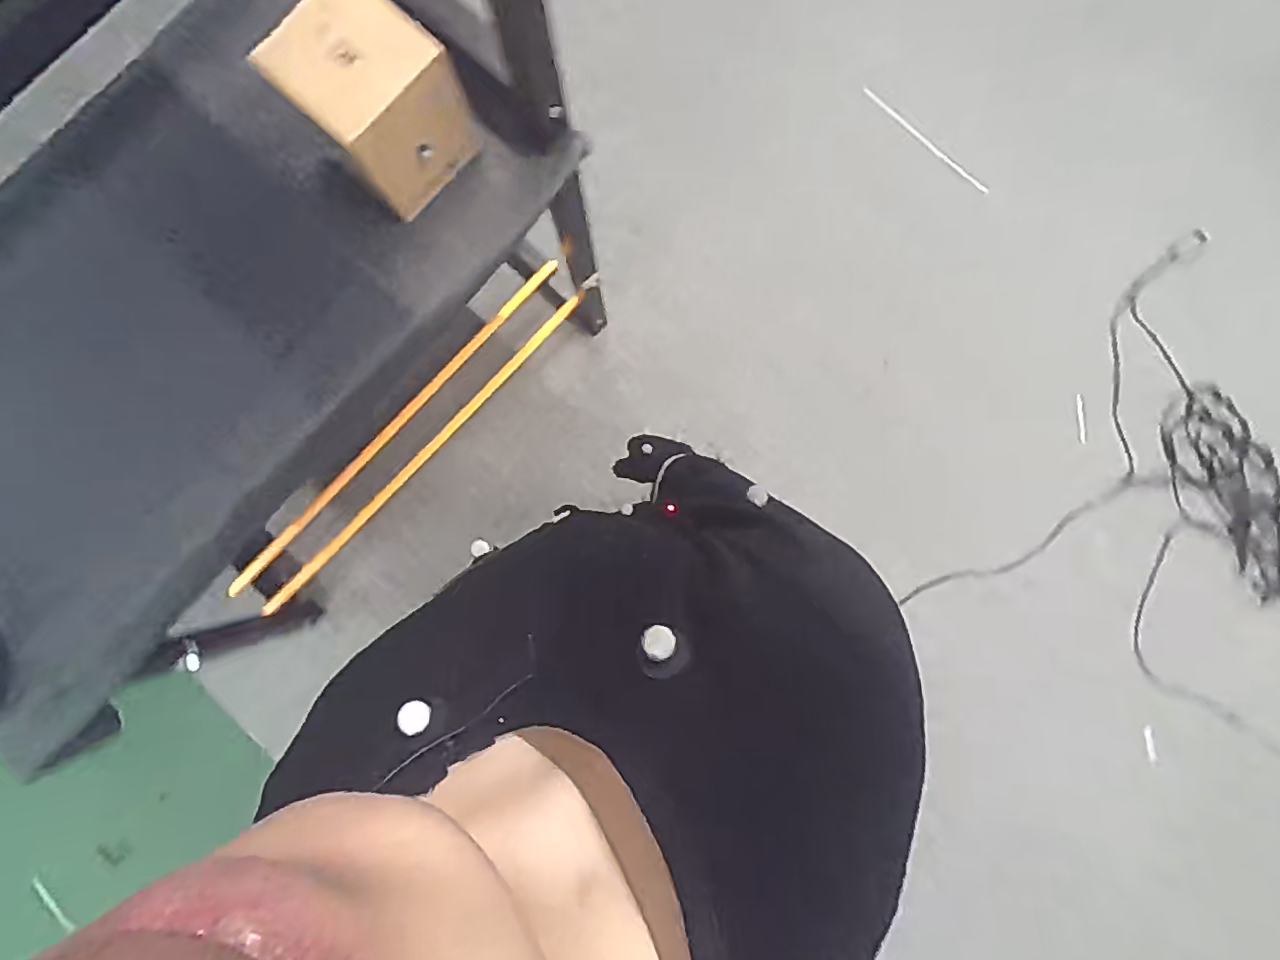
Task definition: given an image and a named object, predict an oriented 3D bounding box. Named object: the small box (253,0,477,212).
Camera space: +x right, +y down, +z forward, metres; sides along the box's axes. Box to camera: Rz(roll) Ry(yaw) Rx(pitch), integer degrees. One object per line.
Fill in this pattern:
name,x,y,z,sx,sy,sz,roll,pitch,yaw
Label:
small box,-0.354,-0.503,0.736,0.179,0.176,0.168,41,87,5
